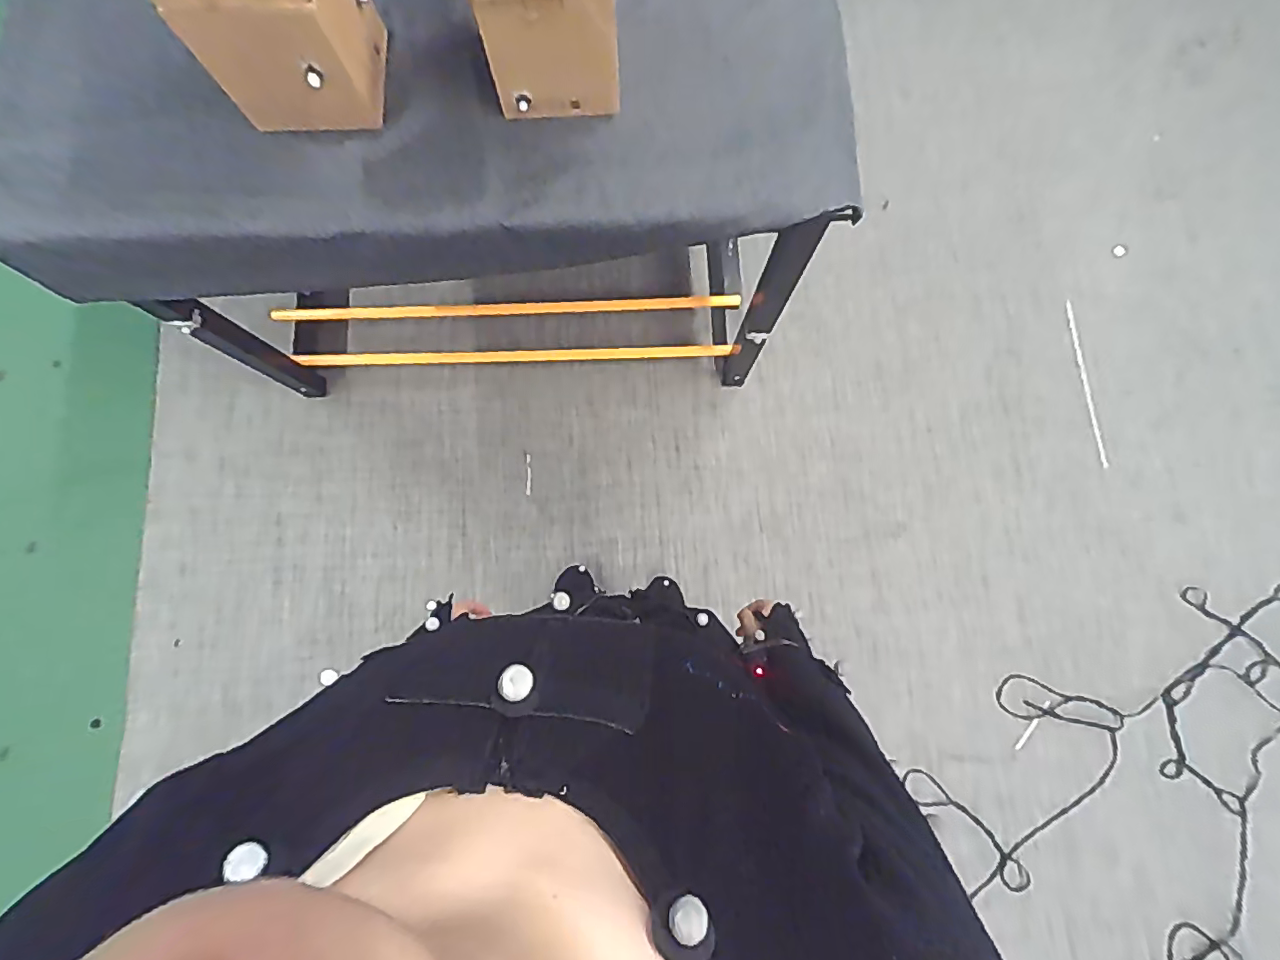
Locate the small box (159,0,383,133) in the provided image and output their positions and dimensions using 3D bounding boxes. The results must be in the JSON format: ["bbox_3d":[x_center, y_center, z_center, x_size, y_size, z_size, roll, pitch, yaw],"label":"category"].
[{"bbox_3d":[-0.454,-0.583,0.697,0.179,0.176,0.168,-3,78,-1],"label":"small box"}]

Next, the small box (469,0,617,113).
[{"bbox_3d":[-0.118,-0.615,0.706,0.168,0.176,0.179,-4,79,-2],"label":"small box"}]

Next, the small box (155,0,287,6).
[{"bbox_3d":[-0.454,-0.621,0.537,0.179,0.176,0.168,-4,79,-2],"label":"small box"}]
